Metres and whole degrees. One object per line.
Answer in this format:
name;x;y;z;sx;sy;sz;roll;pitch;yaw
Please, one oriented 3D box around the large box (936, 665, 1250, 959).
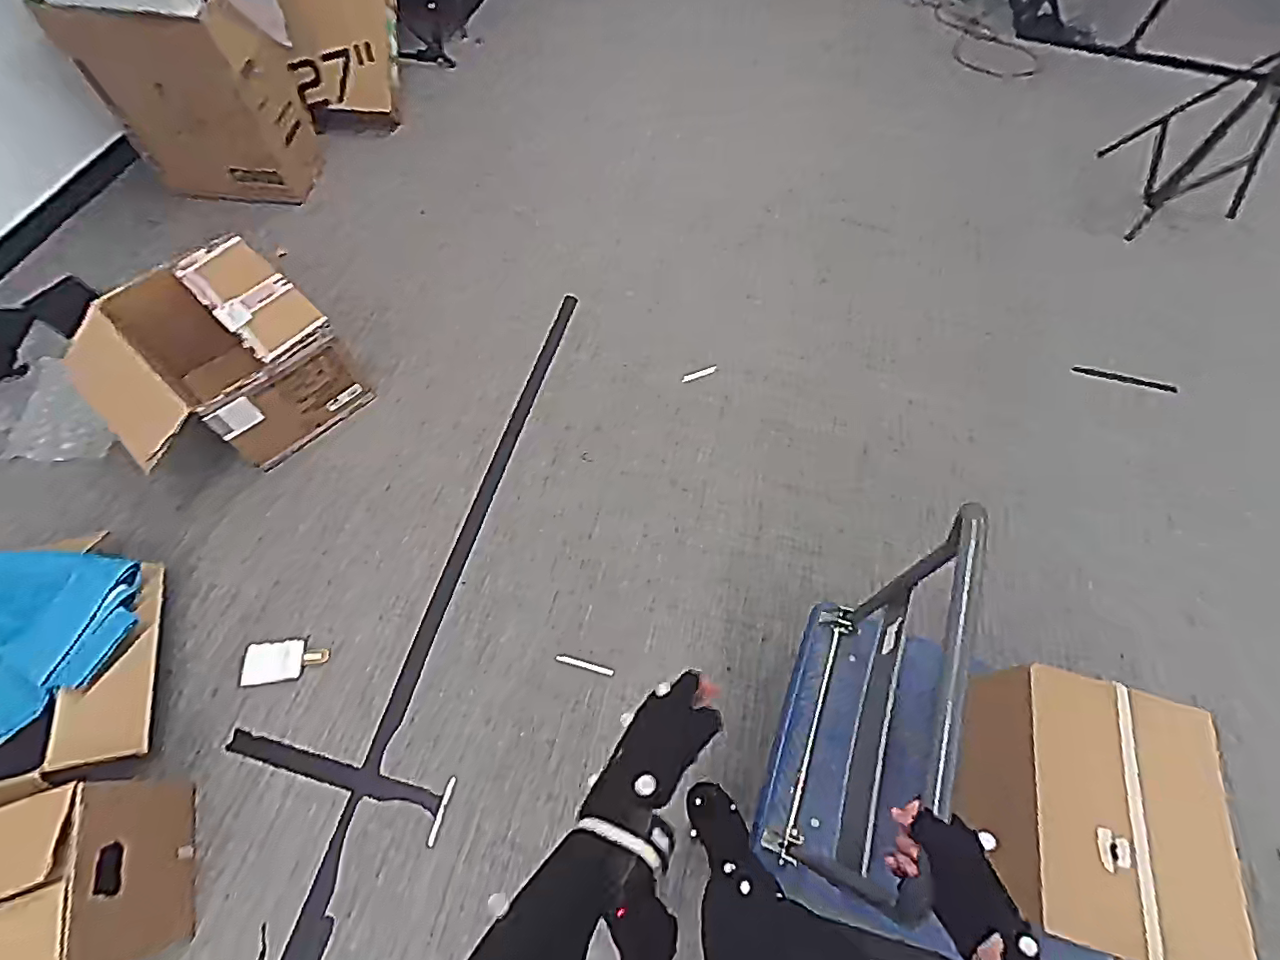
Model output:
large box;0.785;0.605;1.010;0.320;0.320;0.408;15;63;5
